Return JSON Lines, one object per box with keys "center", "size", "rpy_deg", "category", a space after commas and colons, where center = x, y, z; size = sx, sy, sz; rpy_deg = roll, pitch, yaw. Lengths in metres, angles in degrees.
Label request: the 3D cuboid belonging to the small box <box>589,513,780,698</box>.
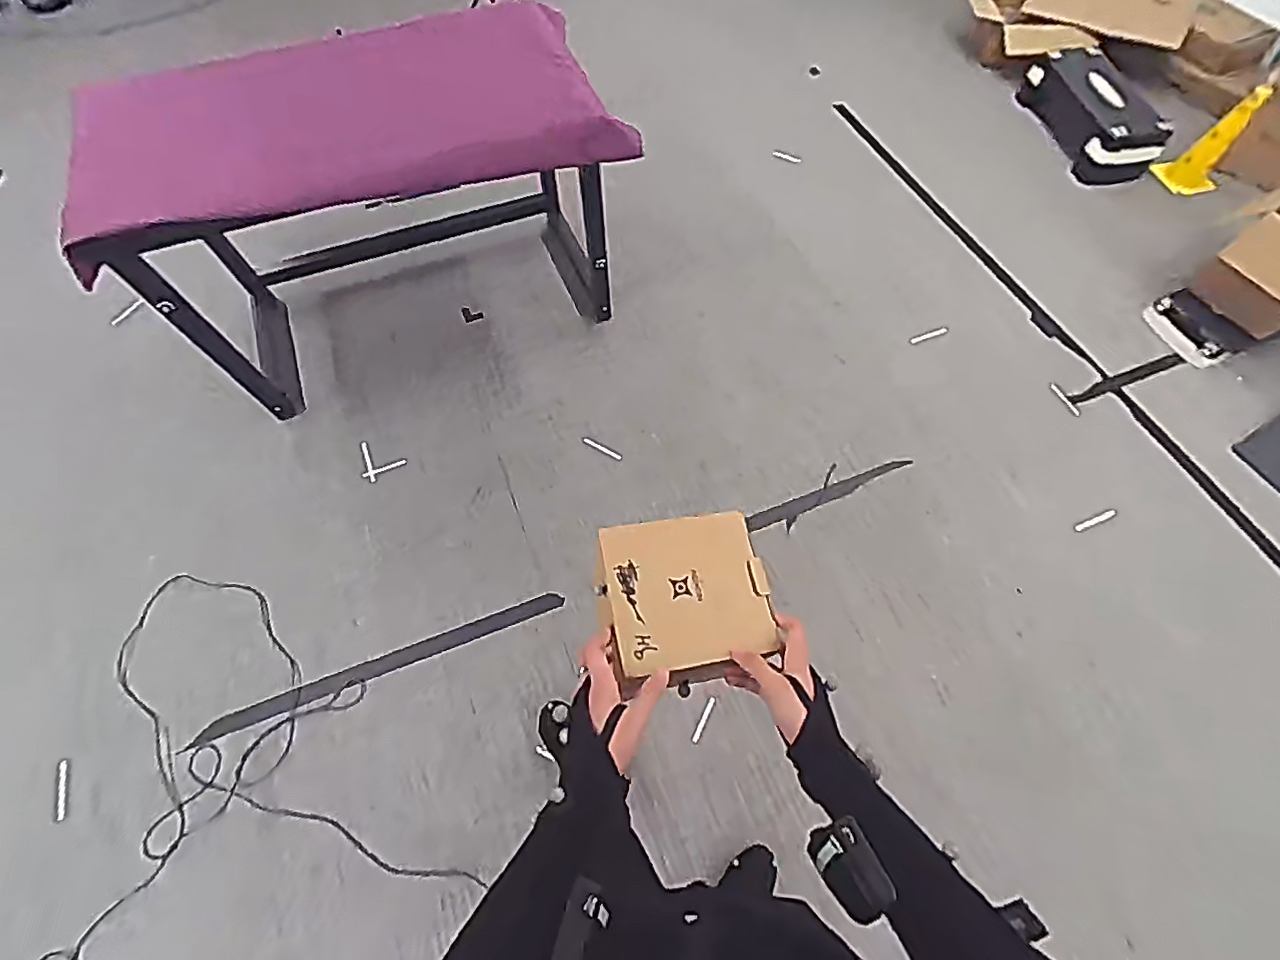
{"center": [0.039, 0.156, 0.656], "size": [0.179, 0.176, 0.168], "rpy_deg": [-6, 62, -12], "category": "small box"}
